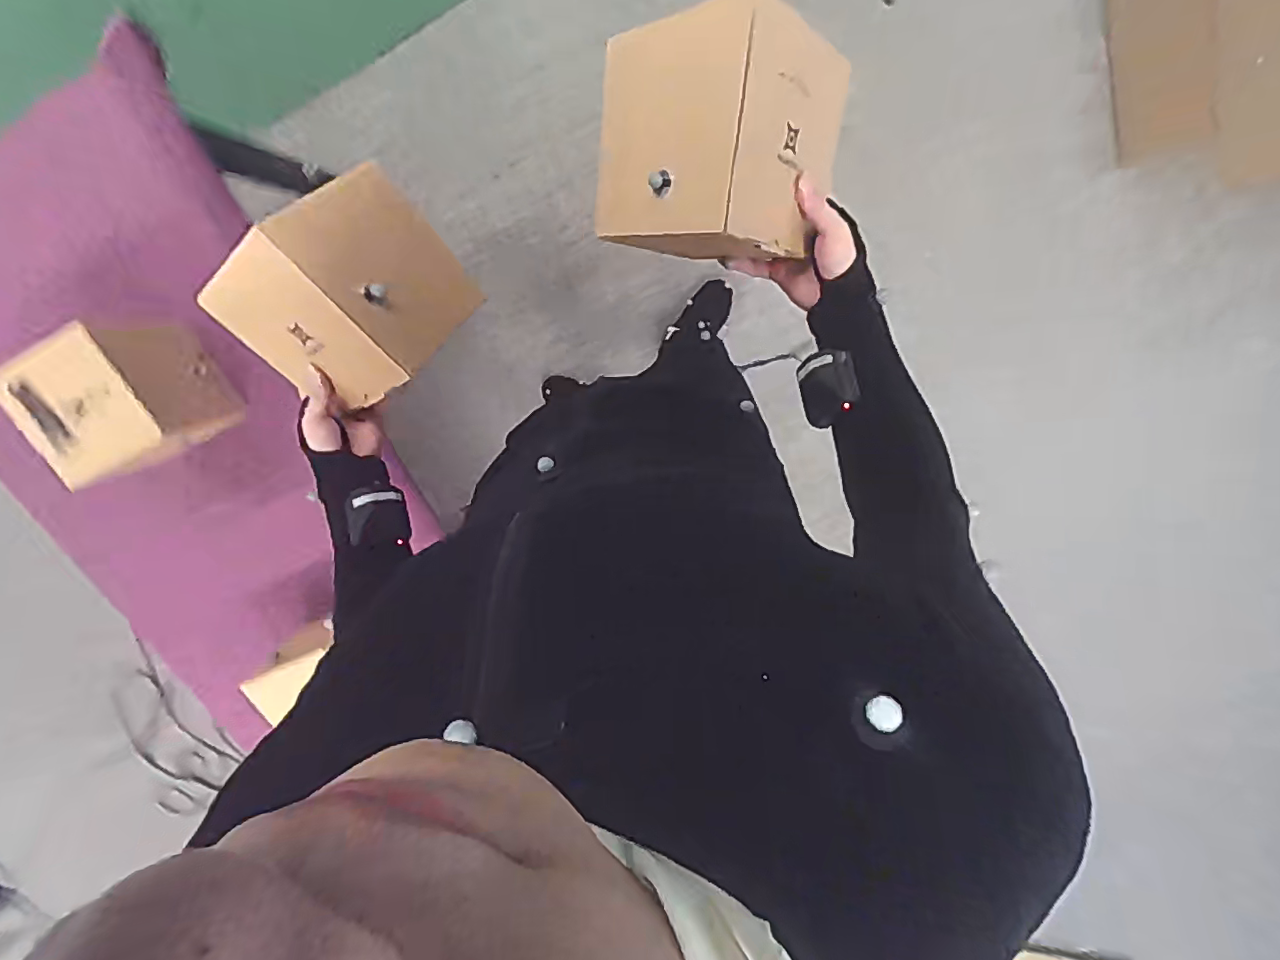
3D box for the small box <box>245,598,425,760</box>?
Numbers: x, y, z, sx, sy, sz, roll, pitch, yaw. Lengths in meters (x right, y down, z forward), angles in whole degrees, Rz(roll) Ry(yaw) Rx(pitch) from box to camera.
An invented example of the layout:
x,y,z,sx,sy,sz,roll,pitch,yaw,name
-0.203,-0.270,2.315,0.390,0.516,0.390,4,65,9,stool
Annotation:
x,y,z,sx,sy,sz,roll,pitch,yaw,name
-0.514,0.338,0.939,0.179,0.176,0.168,-26,105,10,small box
